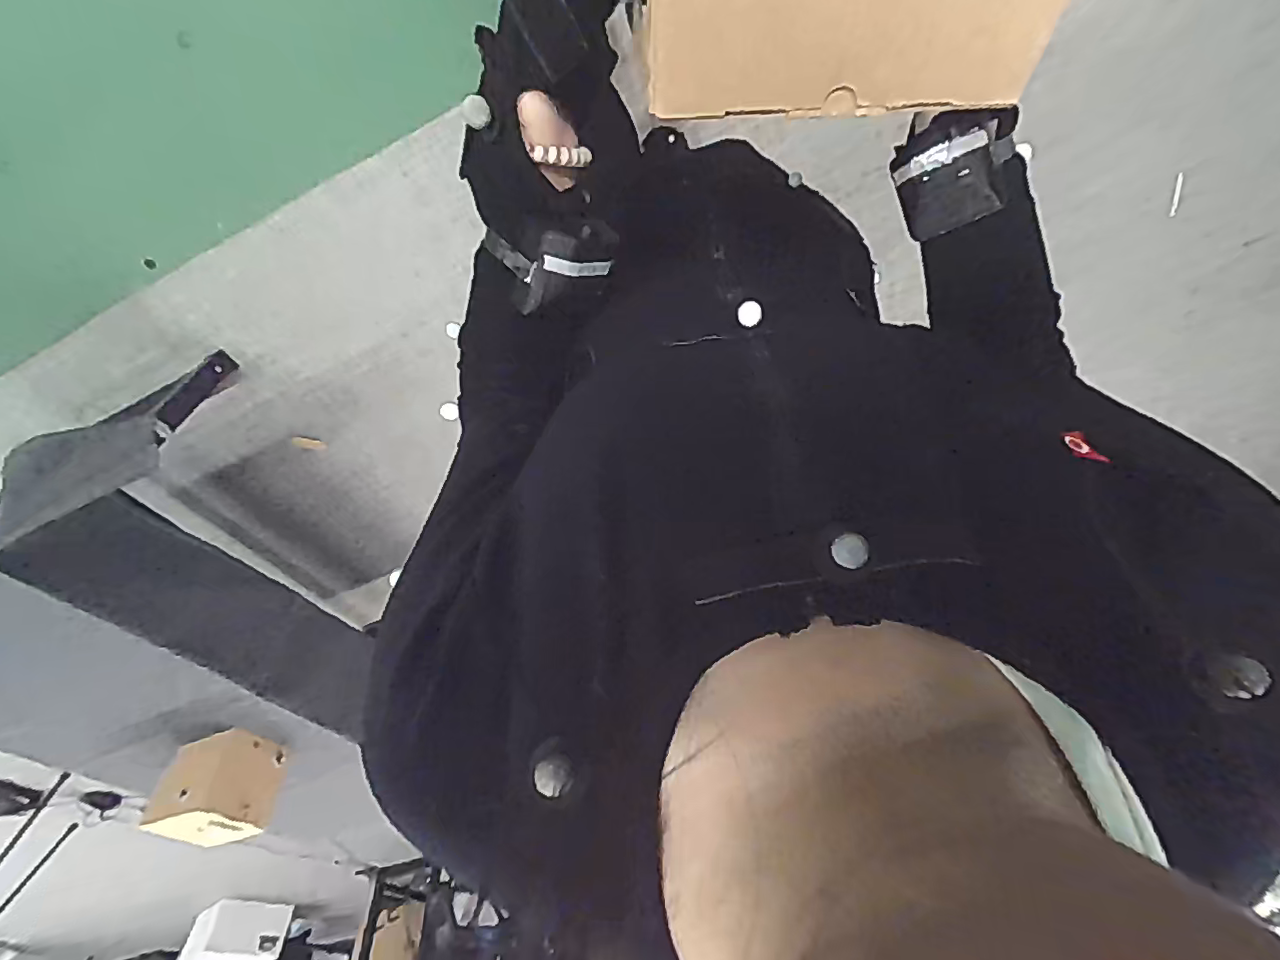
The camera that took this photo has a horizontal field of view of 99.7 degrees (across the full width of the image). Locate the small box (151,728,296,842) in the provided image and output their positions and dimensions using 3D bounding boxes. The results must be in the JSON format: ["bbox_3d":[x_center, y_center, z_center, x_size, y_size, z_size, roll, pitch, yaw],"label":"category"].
[{"bbox_3d":[-0.914,0.680,1.212,0.179,0.176,0.168,-22,129,13],"label":"small box"}]

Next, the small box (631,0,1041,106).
[{"bbox_3d":[0.076,-0.288,0.223,0.168,0.176,0.179,-4,144,-2],"label":"small box"}]
